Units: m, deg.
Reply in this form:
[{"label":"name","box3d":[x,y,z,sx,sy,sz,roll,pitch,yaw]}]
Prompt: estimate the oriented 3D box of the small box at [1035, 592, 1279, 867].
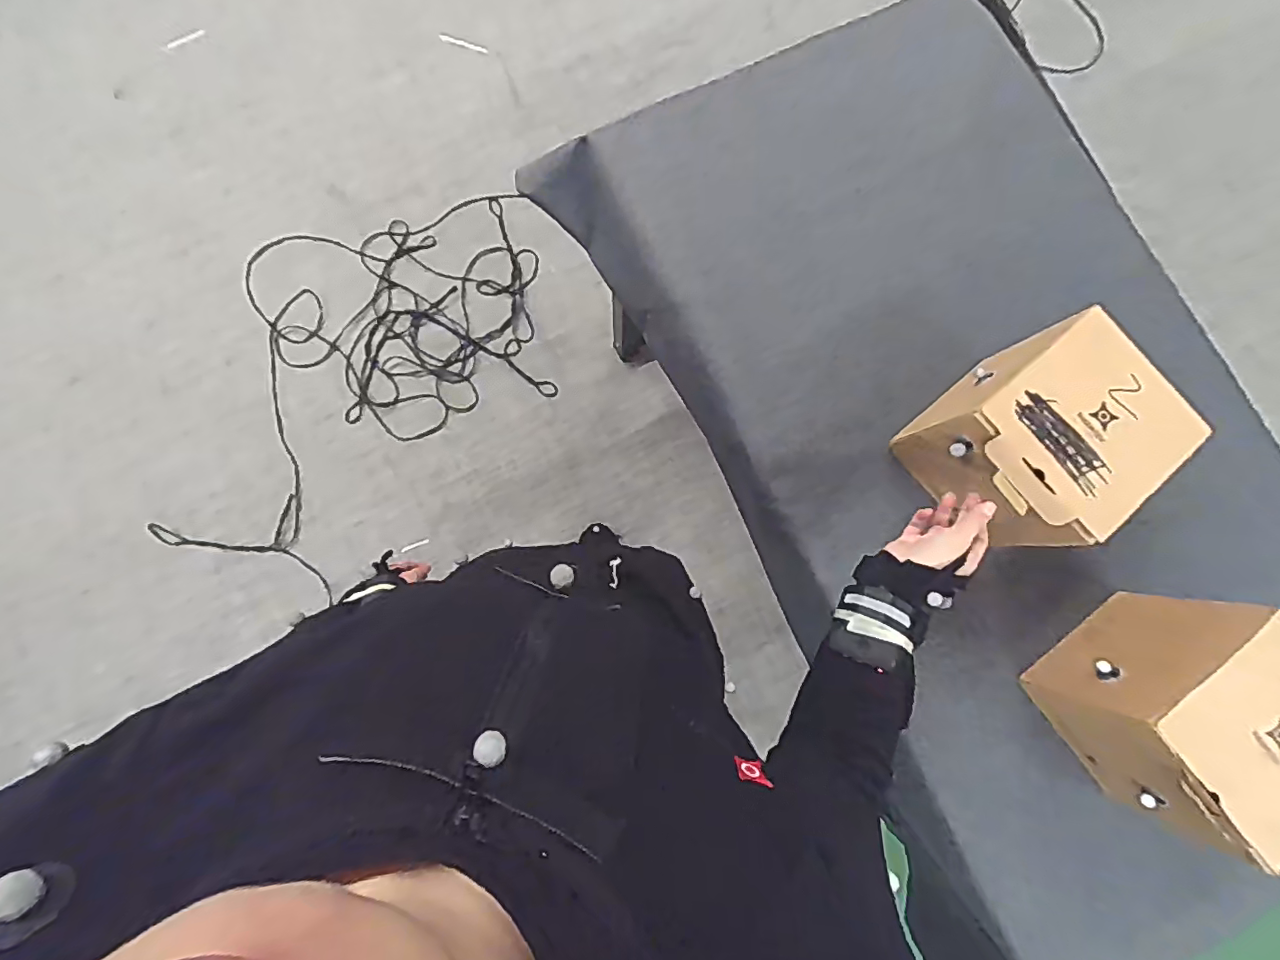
[{"label":"small box","box3d":[0.570,0.239,0.571,0.179,0.176,0.168,-37,88,-7]}]
